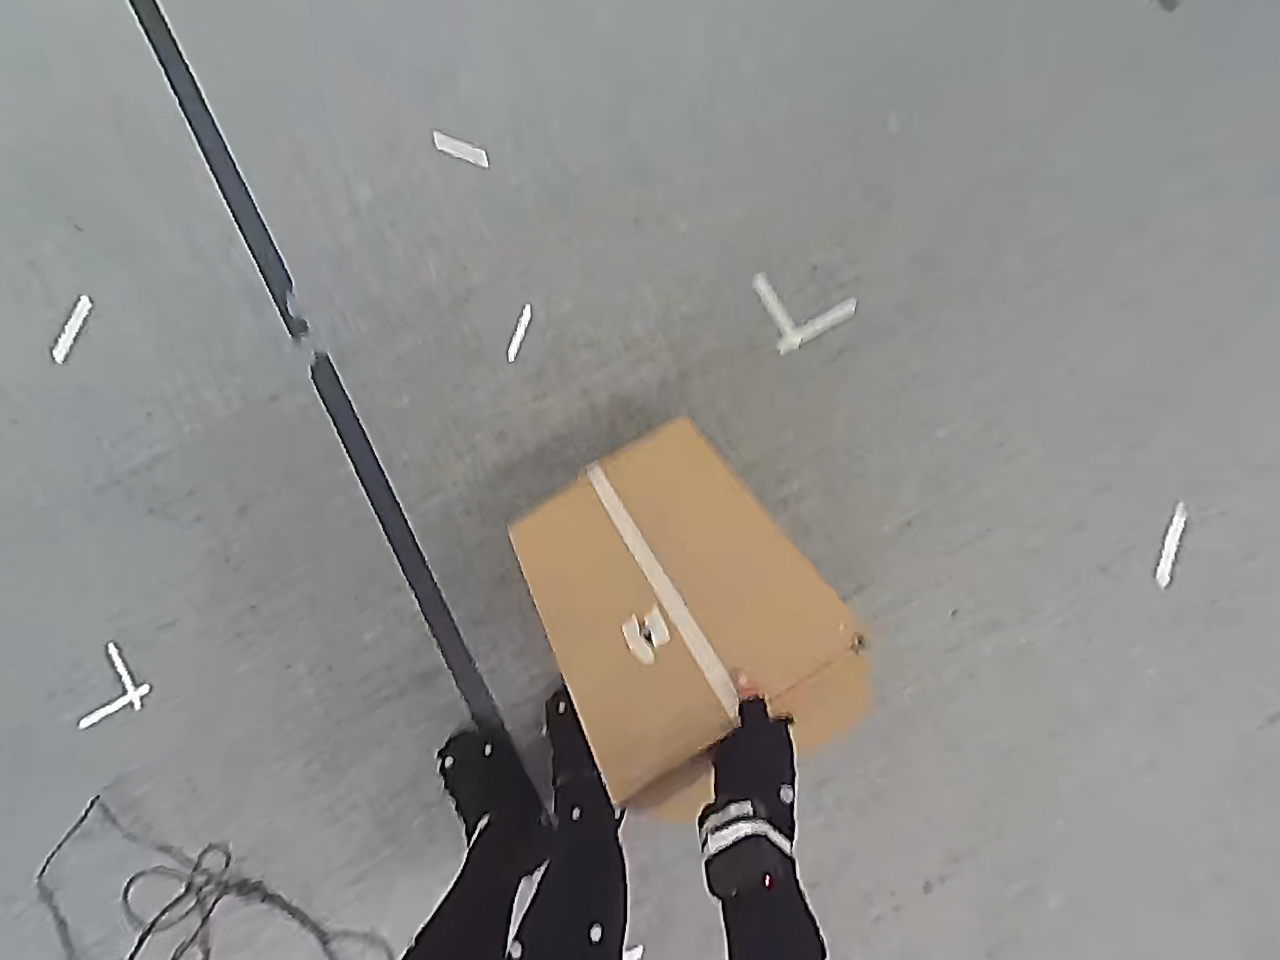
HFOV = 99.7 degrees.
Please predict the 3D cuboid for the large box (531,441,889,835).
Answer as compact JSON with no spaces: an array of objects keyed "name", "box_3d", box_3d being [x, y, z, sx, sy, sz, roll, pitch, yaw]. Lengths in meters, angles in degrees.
[{"name":"large box","box_3d":[0.094,0.224,0.797,0.320,0.320,0.408,-32,49,-2]}]
